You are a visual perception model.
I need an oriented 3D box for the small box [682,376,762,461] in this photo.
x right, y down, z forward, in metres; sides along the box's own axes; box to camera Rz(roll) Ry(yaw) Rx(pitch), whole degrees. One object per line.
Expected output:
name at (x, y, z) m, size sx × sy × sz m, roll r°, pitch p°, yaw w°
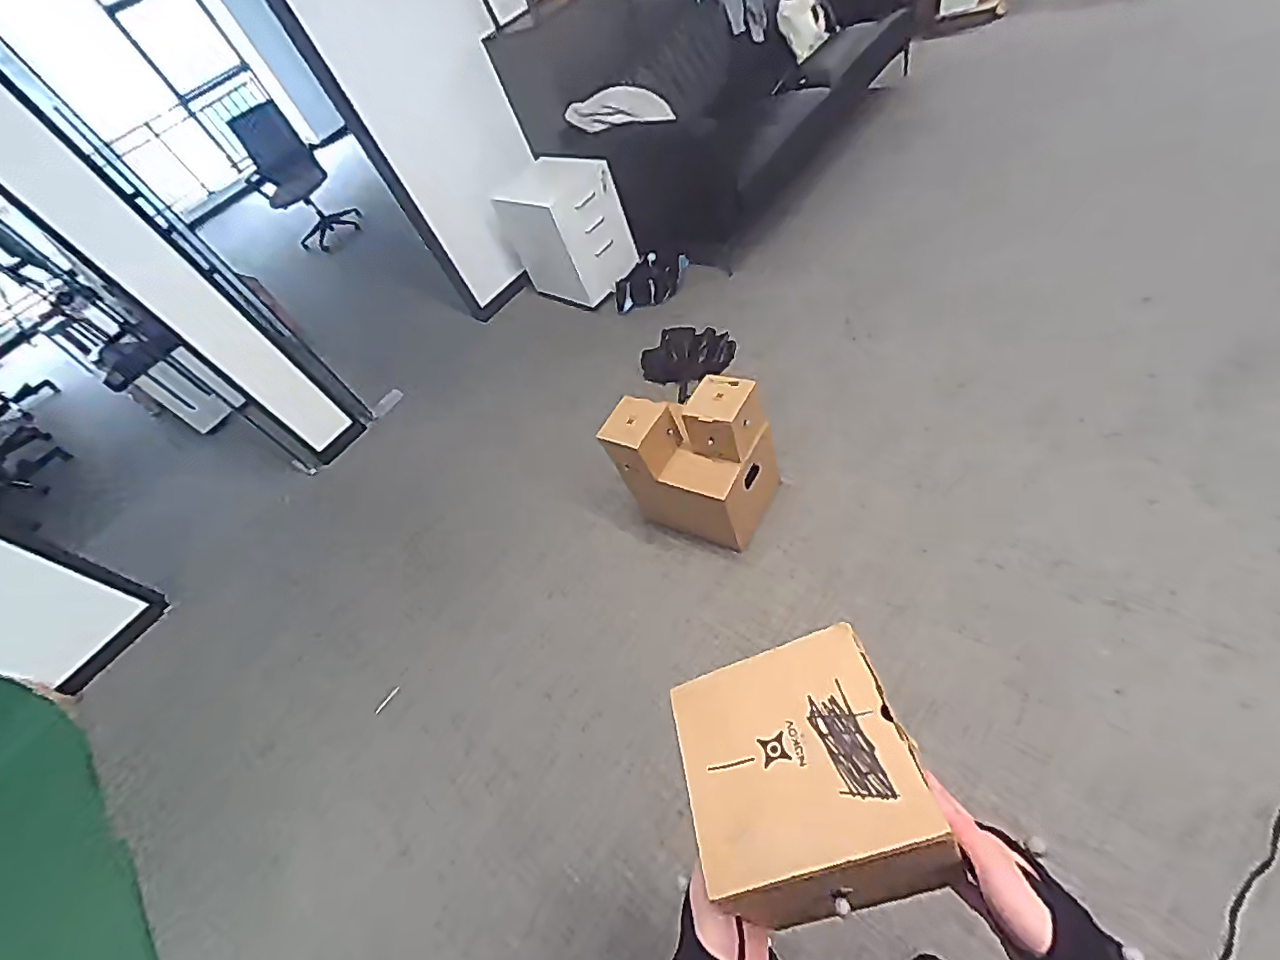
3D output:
small box at (0.253, -0.182, 1.617) m, size 0.168 × 0.176 × 0.179 m, roll 15°, pitch 60°, yaw 32°

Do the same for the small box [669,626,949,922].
small box at (0.148, 0.263, 0.479) m, size 0.179 × 0.176 × 0.168 m, roll -25°, pitch 39°, yaw 12°

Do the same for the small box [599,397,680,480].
small box at (0.008, -0.128, 1.682) m, size 0.168 × 0.176 × 0.179 m, roll 18°, pitch 66°, yaw 34°
